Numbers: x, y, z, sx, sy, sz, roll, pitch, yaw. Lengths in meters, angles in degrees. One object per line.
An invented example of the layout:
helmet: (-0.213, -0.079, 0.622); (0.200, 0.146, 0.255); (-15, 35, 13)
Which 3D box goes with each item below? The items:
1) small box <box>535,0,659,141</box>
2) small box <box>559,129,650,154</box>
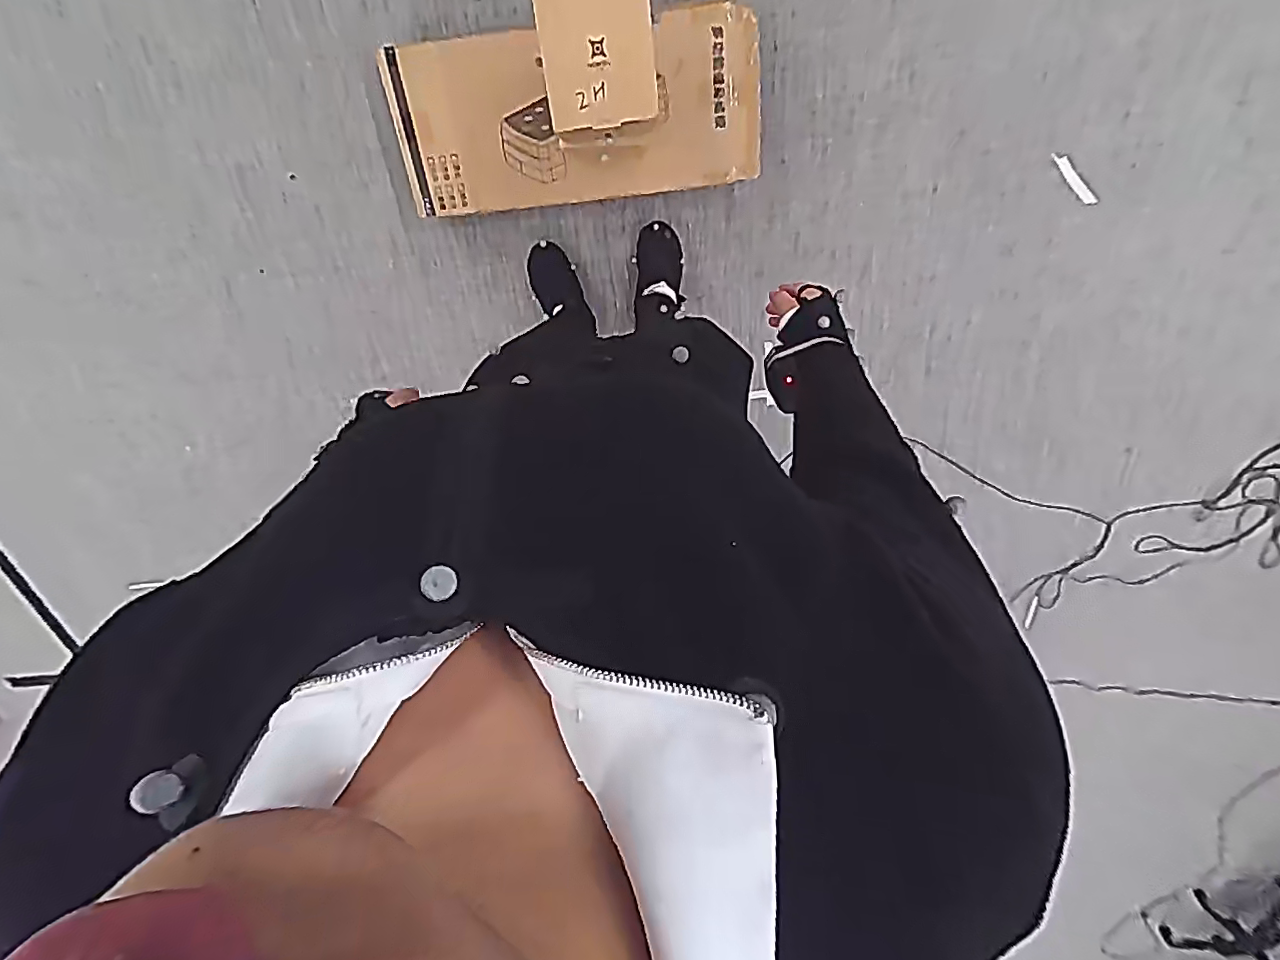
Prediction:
small box: (-0.061, -0.656, 0.855); (0.168, 0.176, 0.179); (-6, 118, 3)
small box: (-0.067, -0.719, 1.009); (0.168, 0.176, 0.179); (-2, 118, 1)
